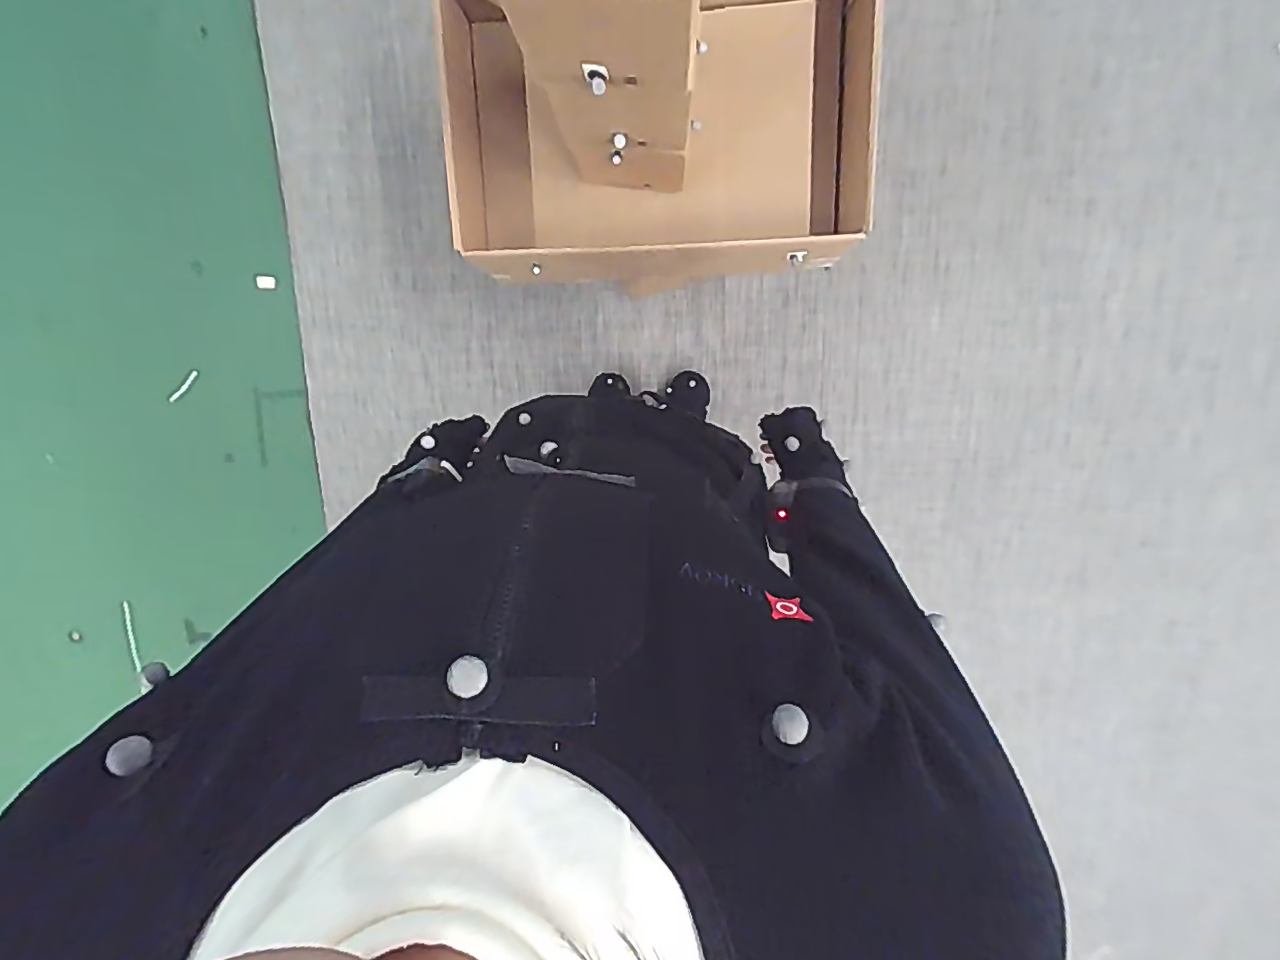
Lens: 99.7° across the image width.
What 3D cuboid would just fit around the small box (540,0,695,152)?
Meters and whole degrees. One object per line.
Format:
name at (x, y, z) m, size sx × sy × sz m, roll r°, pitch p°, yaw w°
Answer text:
small box at (-0.021, -0.529, 0.652) m, size 0.168 × 0.176 × 0.179 m, roll 4°, pitch 102°, yaw 2°

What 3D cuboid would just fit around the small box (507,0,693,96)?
small box at (-0.031, -0.494, 0.496) m, size 0.168 × 0.176 × 0.179 m, roll 4°, pitch 102°, yaw 3°

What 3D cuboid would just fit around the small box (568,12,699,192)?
small box at (-0.008, -0.561, 0.813) m, size 0.168 × 0.176 × 0.179 m, roll 6°, pitch 101°, yaw 2°
